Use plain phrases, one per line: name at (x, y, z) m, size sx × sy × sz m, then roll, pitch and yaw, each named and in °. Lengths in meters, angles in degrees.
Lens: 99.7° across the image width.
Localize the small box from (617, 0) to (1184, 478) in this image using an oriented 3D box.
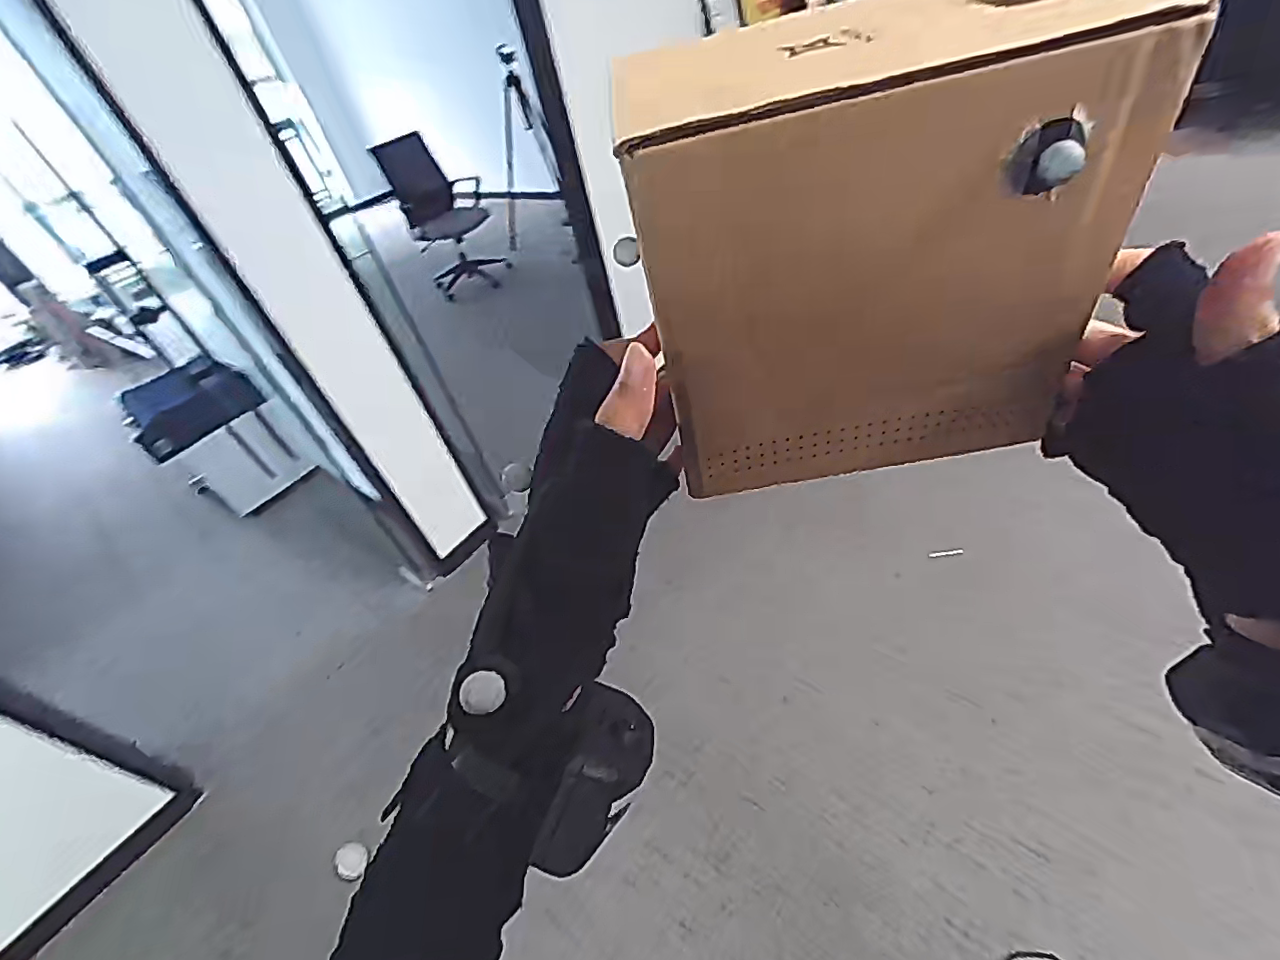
small box at (0.091, -0.118, 0.279) m, size 0.179 × 0.176 × 0.168 m, roll -9°, pitch 44°, yaw 6°
